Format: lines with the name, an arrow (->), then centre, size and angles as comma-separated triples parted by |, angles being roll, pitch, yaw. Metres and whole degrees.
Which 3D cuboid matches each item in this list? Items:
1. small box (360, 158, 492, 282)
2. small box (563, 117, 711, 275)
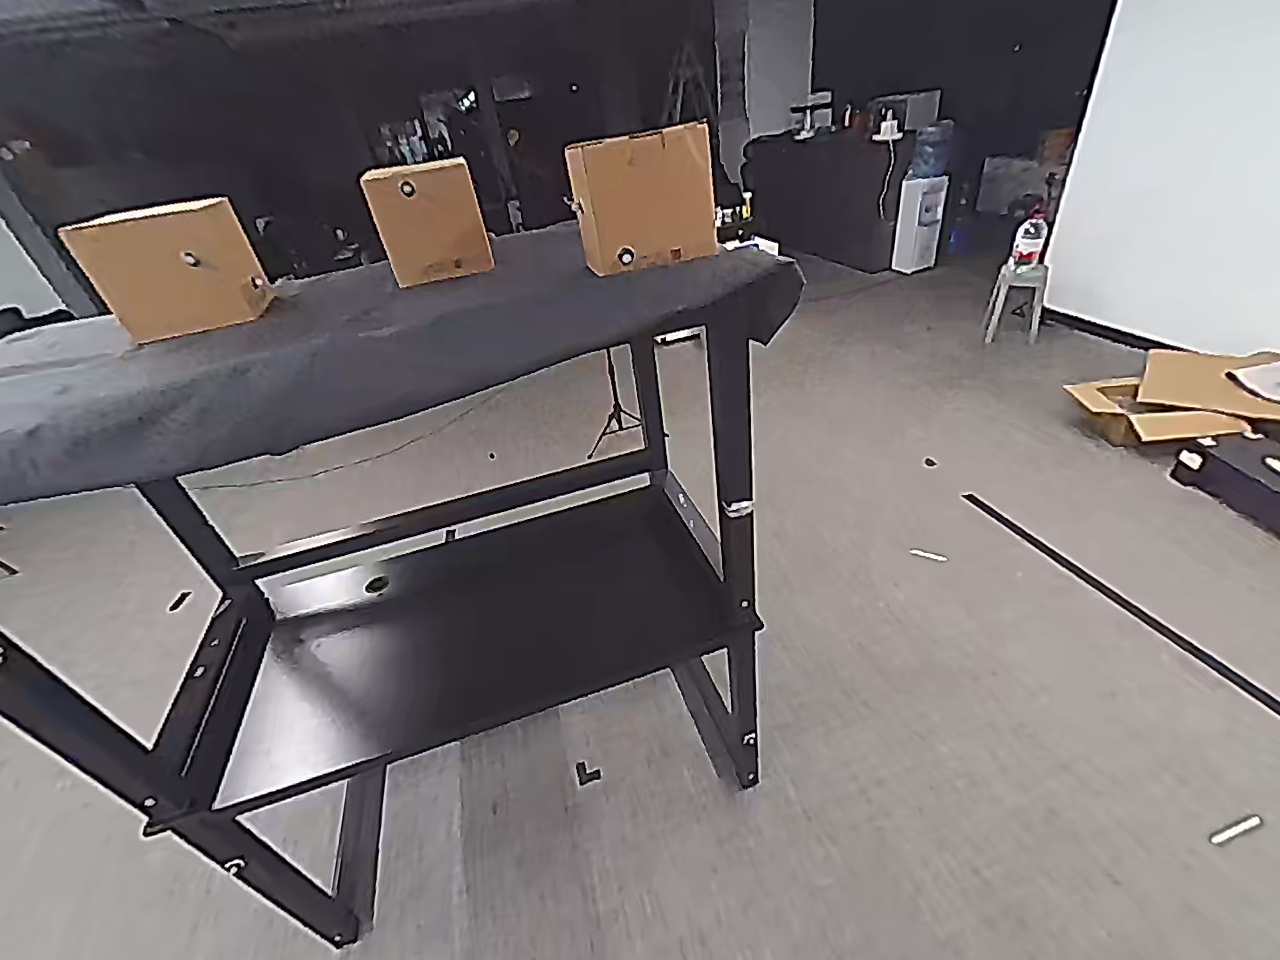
small box -> -0.370, -0.463, 0.961 | 0.168, 0.176, 0.179 | -16, 35, -10
small box -> -0.005, -0.404, 0.782 | 0.168, 0.176, 0.179 | -15, 31, -7
